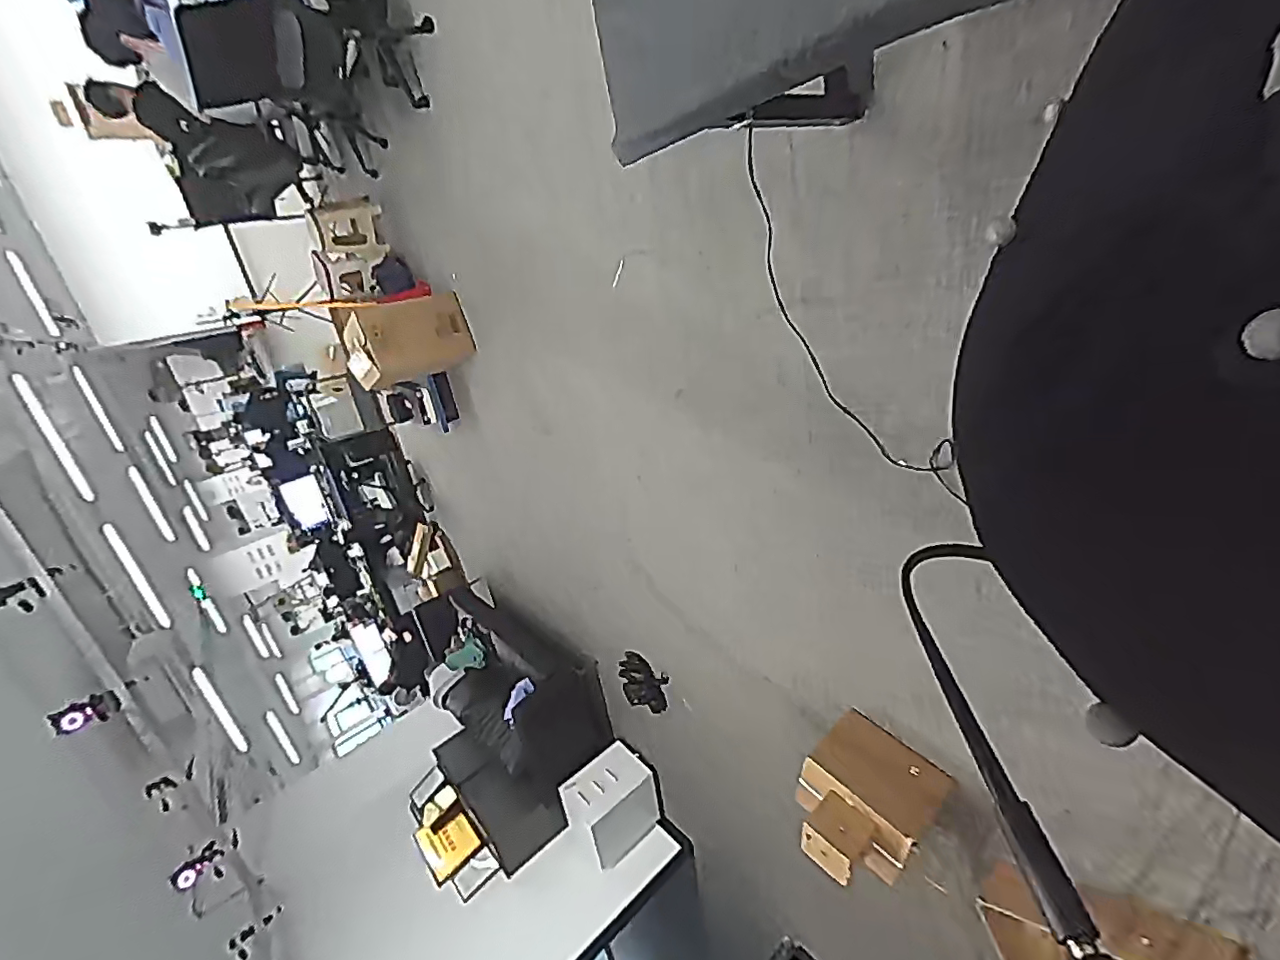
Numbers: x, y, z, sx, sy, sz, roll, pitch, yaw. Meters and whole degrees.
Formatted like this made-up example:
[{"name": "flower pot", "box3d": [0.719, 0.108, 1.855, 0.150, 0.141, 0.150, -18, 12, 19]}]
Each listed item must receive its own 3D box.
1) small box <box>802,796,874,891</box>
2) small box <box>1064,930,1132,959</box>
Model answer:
[{"name": "small box", "box3d": [0.683, 1.243, 1.863, 0.179, 0.176, 0.168, 24, 128, 44]}, {"name": "small box", "box3d": [1.359, 1.487, 1.578, 0.168, 0.176, 0.179, -8, 106, 54]}]
